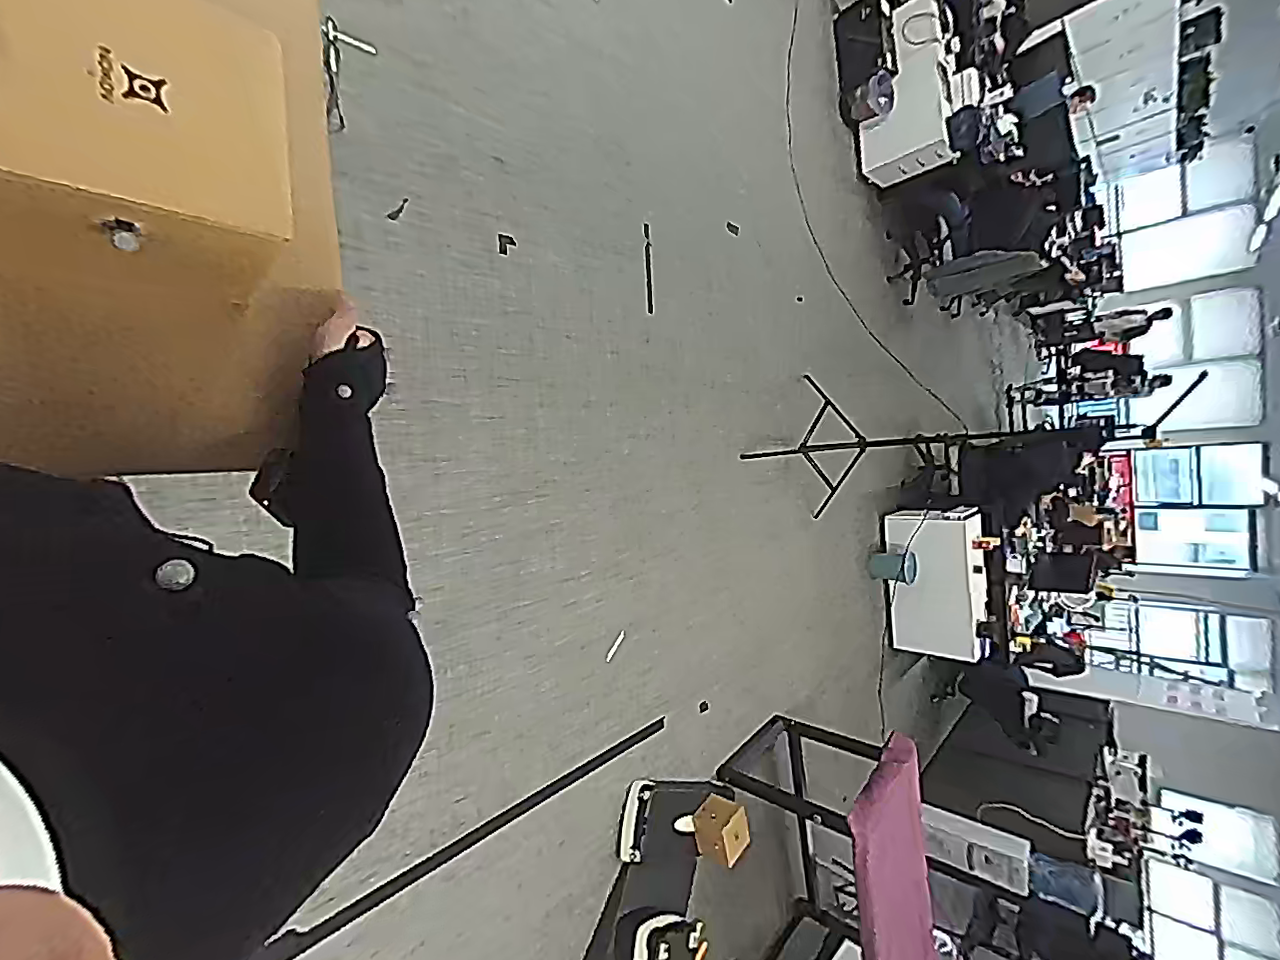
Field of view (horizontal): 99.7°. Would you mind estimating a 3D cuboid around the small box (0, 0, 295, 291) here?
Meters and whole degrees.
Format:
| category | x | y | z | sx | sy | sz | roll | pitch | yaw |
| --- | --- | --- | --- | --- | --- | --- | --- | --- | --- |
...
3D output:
| category | x | y | z | sx | sy | sz | roll | pitch | yaw |
| --- | --- | --- | --- | --- | --- | --- | --- | --- | --- |
| small box | -0.401 | -0.265 | 0.430 | 0.179 | 0.176 | 0.168 | -4 | 89 | -45 |
